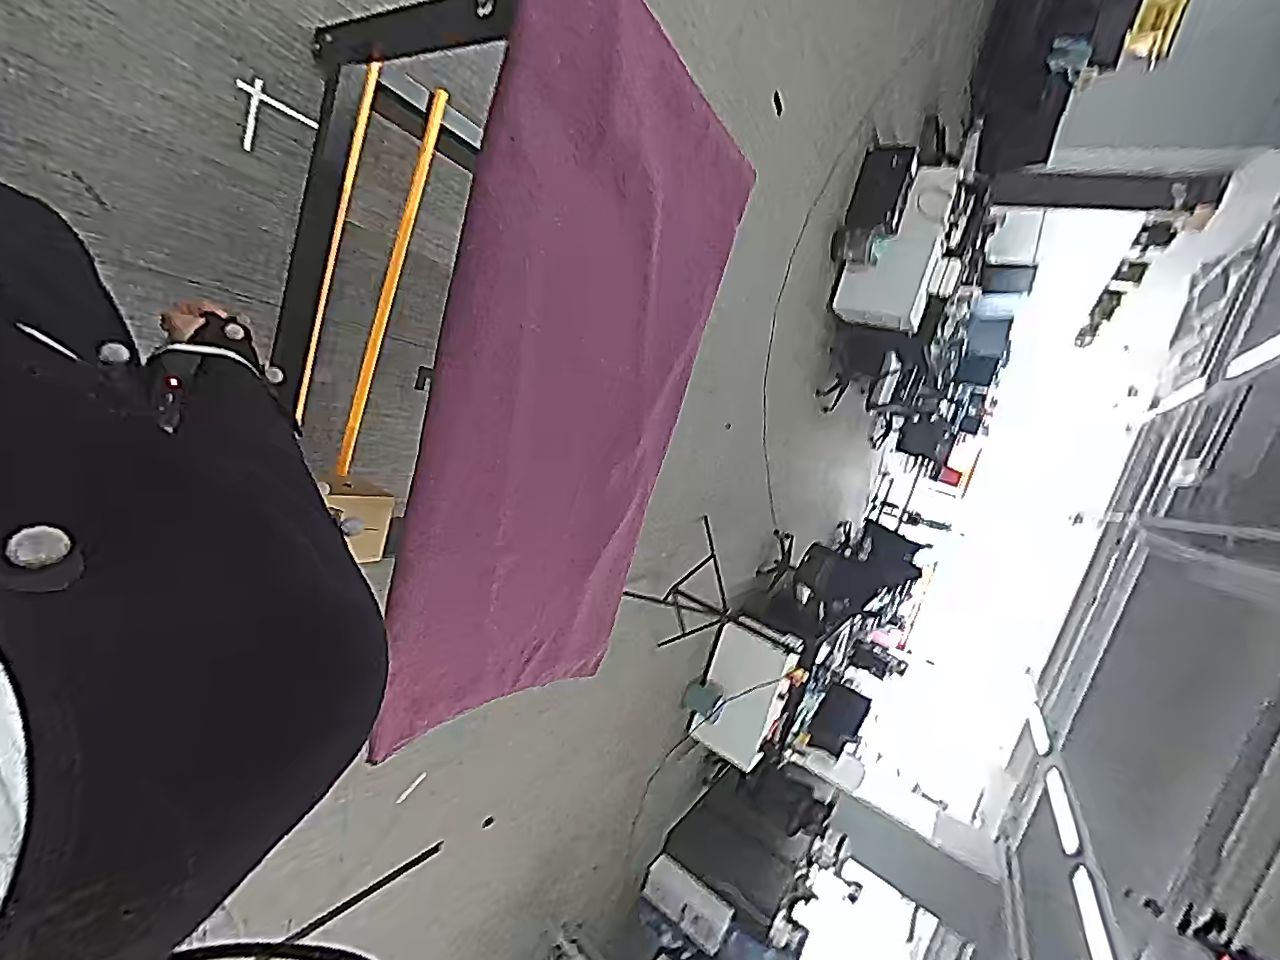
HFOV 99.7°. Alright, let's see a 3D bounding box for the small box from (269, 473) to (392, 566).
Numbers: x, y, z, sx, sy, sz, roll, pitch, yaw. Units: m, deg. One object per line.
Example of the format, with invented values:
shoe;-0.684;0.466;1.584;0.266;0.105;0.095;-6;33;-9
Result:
small box;-0.714;0.087;1.245;0.179;0.176;0.168;6;102;-59
